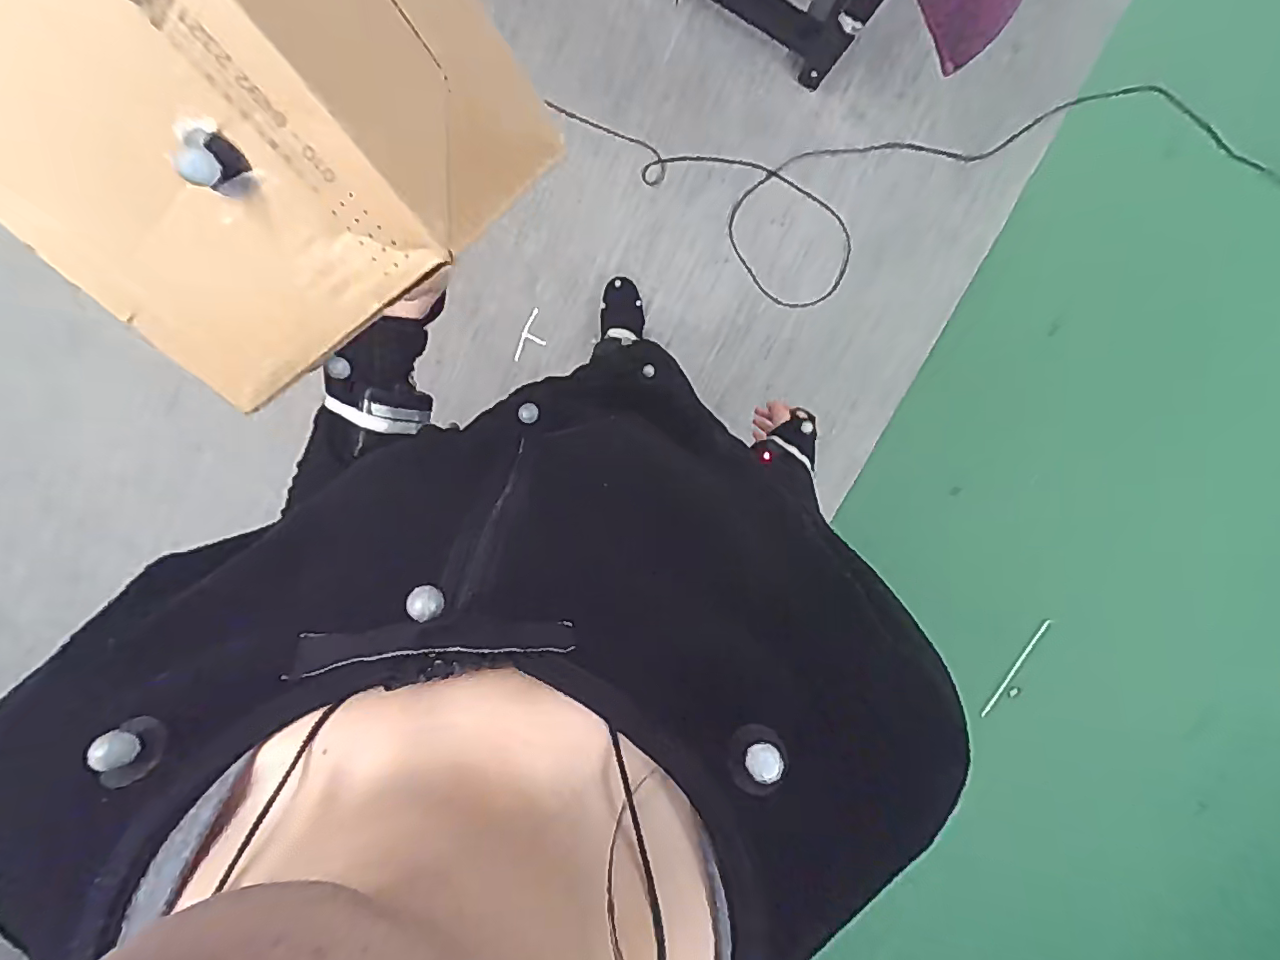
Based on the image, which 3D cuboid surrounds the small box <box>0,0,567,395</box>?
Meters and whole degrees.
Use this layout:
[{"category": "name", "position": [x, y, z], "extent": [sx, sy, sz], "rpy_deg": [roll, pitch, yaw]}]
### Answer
[{"category": "small box", "position": [-0.159, -0.177, 0.259], "extent": [0.176, 0.179, 0.168], "rpy_deg": [-21, 124, 29]}]
